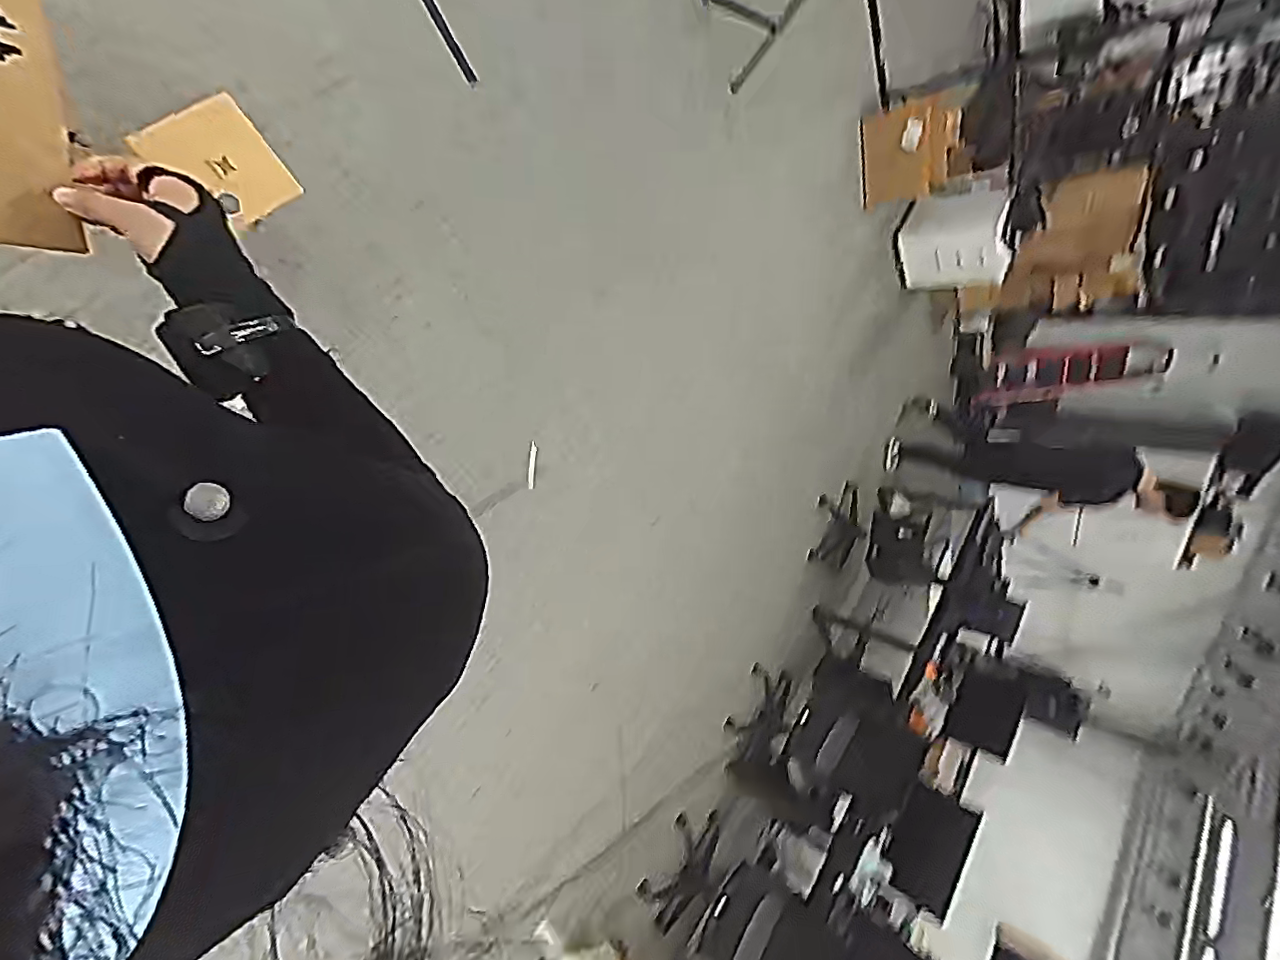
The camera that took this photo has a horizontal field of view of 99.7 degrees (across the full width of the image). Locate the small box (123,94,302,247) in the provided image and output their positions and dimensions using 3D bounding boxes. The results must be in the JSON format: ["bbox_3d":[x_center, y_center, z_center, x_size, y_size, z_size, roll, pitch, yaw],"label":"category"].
[{"bbox_3d":[-0.748,-0.532,0.945,0.179,0.176,0.168,-51,133,-24],"label":"small box"}]

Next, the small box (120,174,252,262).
[{"bbox_3d":[-0.866,-0.553,1.056,0.168,0.176,0.179,45,68,-43],"label":"small box"}]
